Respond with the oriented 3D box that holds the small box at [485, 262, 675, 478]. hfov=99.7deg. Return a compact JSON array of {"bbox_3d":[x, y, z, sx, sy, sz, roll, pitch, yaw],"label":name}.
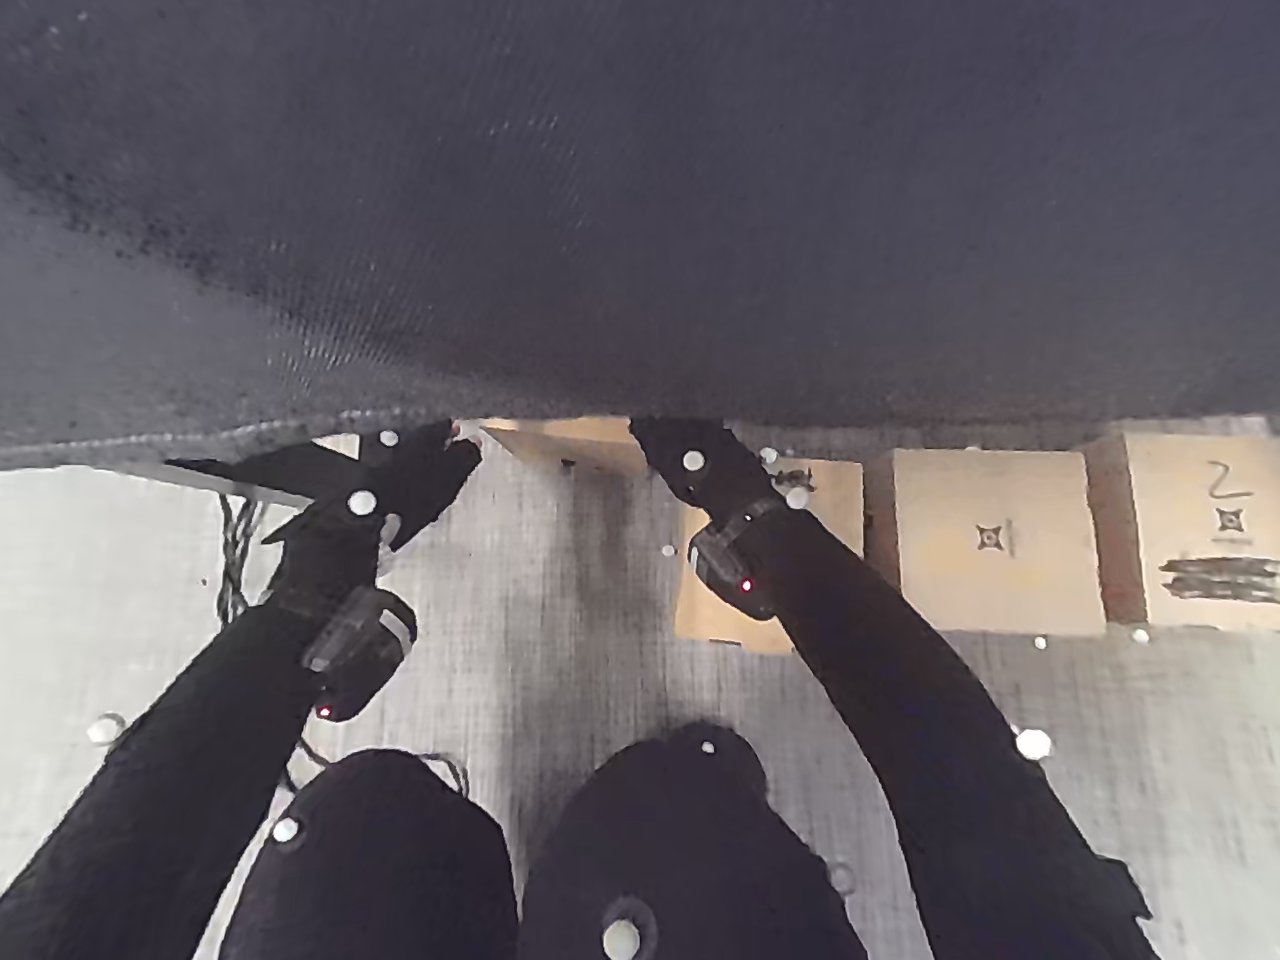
[{"bbox_3d":[-0.055,-0.113,0.609,0.168,0.176,0.179,7,78,5],"label":"small box"}]
